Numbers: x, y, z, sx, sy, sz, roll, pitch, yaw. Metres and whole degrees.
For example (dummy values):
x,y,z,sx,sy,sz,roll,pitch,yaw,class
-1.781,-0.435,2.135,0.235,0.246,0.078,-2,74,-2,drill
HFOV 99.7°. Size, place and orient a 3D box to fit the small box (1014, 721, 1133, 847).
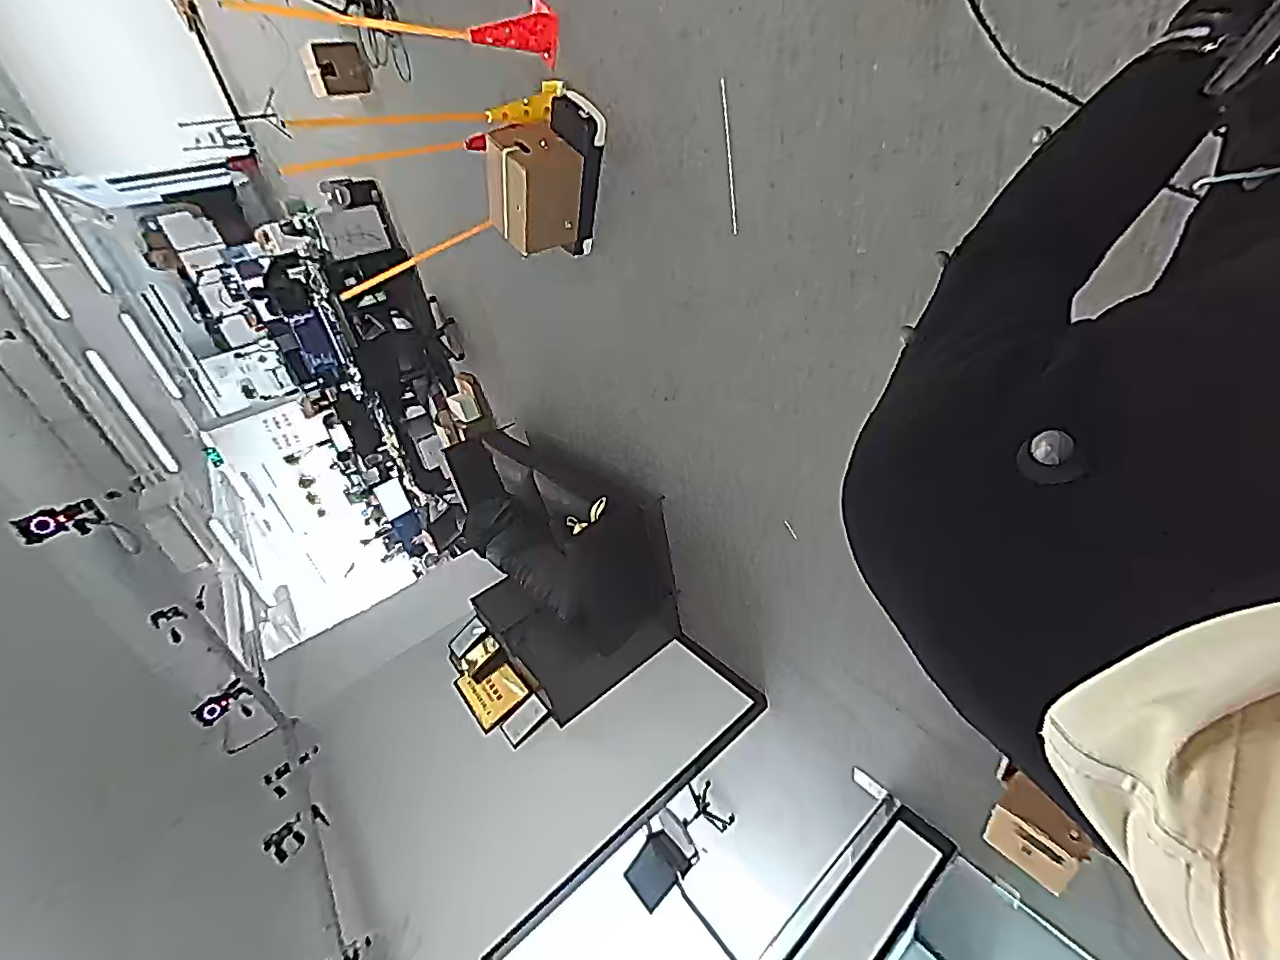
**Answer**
x,y,z,sx,sy,sz,roll,pitch,yaw,class
1.074,0.746,1.341,0.168,0.176,0.179,30,139,45,small box
